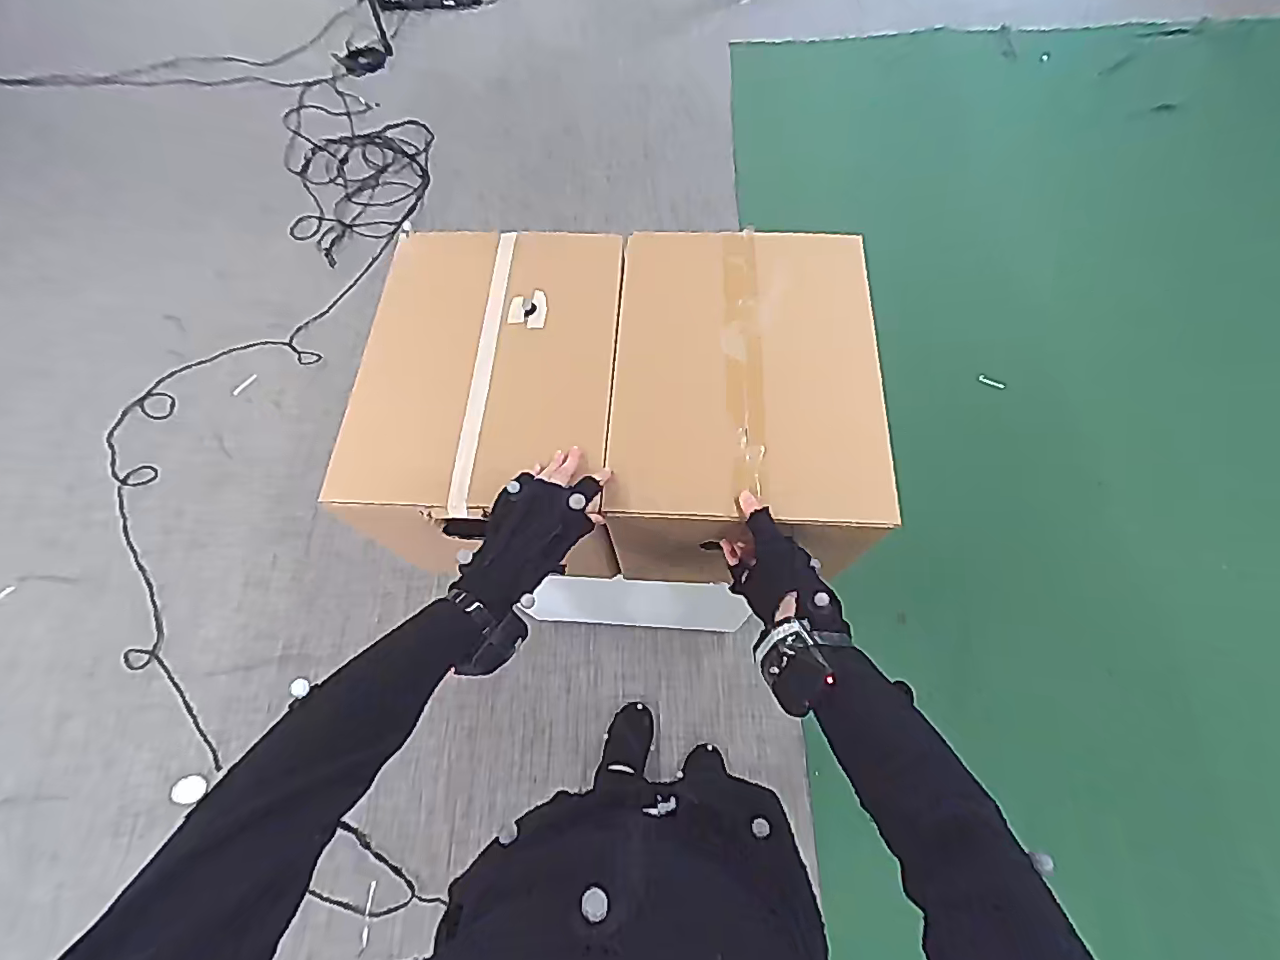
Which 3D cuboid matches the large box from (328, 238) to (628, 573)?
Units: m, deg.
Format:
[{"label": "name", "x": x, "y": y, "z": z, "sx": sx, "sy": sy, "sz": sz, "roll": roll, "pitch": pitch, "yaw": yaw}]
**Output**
[{"label": "large box", "x": -0.187, "y": -0.092, "z": 0.811, "sx": 0.320, "sy": 0.320, "sz": 0.408, "roll": 2, "pitch": 66, "yaw": 2}]
